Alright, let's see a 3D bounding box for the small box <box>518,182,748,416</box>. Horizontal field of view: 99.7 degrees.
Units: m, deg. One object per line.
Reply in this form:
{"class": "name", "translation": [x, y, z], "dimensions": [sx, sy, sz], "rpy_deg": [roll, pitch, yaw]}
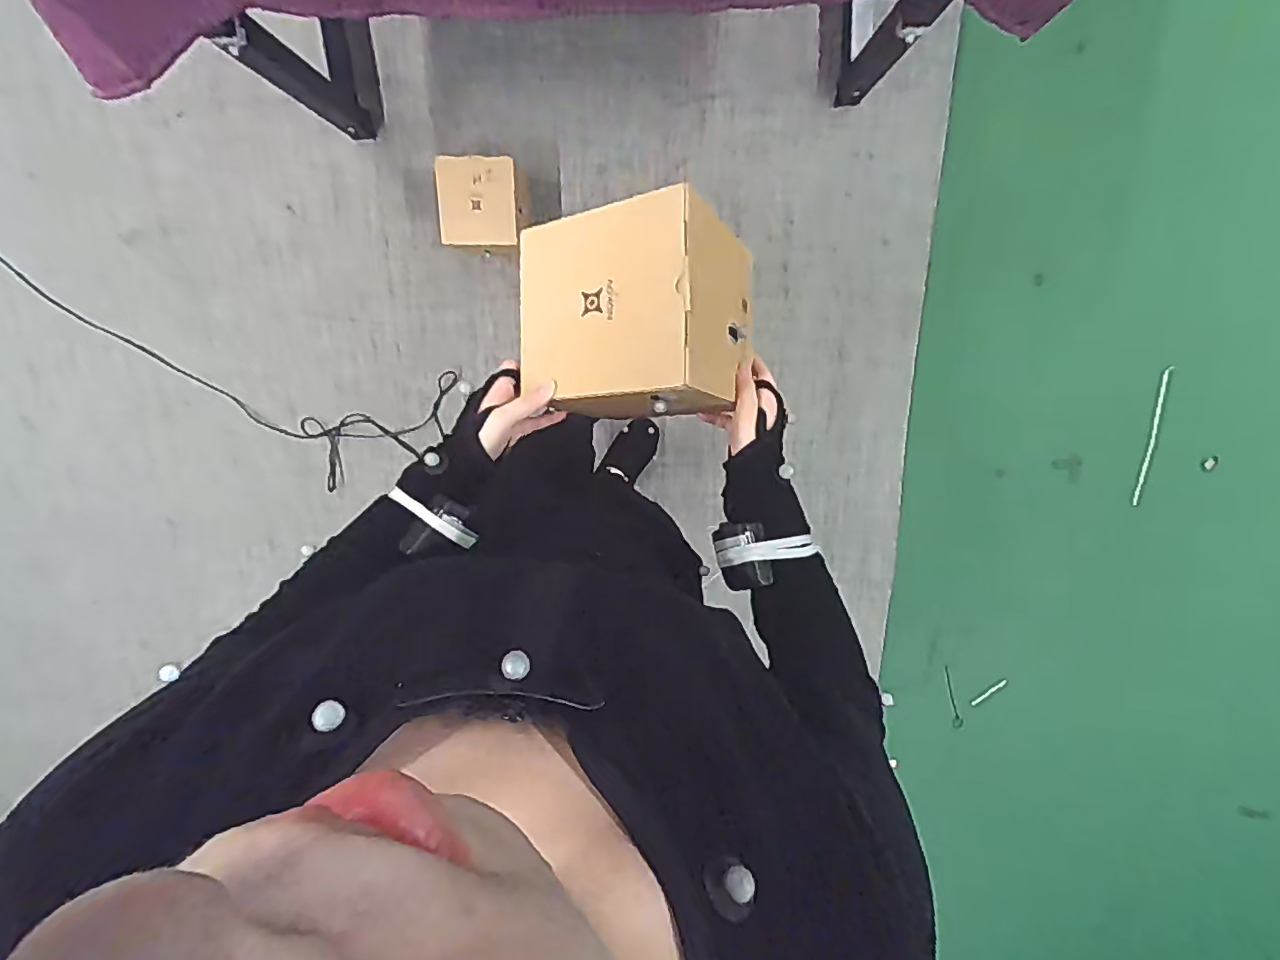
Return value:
{"class": "small box", "translation": [-0.001, -0.160, 0.549], "dimensions": [0.179, 0.176, 0.168], "rpy_deg": [-1, 89, 28]}

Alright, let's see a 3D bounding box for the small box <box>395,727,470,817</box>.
{"class": "small box", "translation": [-0.615, 0.870, 1.621], "dimensions": [0.168, 0.176, 0.179], "rpy_deg": [3, 104, 0]}

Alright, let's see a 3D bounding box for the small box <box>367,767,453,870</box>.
{"class": "small box", "translation": [-0.614, 0.907, 1.460], "dimensions": [0.168, 0.176, 0.179], "rpy_deg": [4, 106, -1]}
